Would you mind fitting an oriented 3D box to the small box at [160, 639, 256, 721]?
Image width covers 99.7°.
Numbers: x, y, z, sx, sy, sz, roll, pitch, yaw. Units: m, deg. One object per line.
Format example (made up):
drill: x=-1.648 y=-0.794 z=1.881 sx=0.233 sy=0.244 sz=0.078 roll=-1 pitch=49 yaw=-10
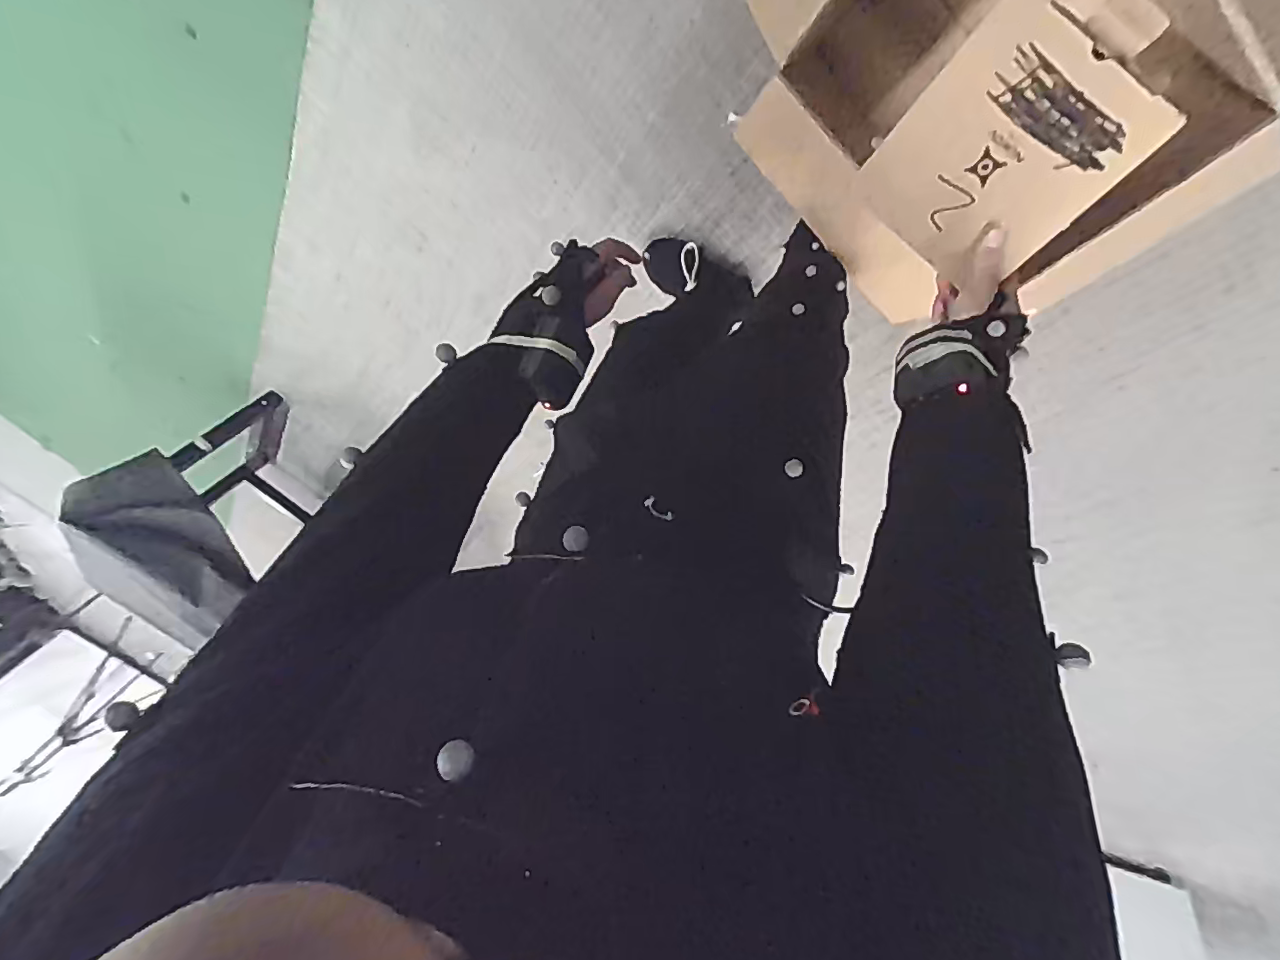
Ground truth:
small box: x=-1.351 y=0.627 z=1.695 sx=0.168 sy=0.176 sz=0.179 roll=43 pitch=134 yaw=-16
